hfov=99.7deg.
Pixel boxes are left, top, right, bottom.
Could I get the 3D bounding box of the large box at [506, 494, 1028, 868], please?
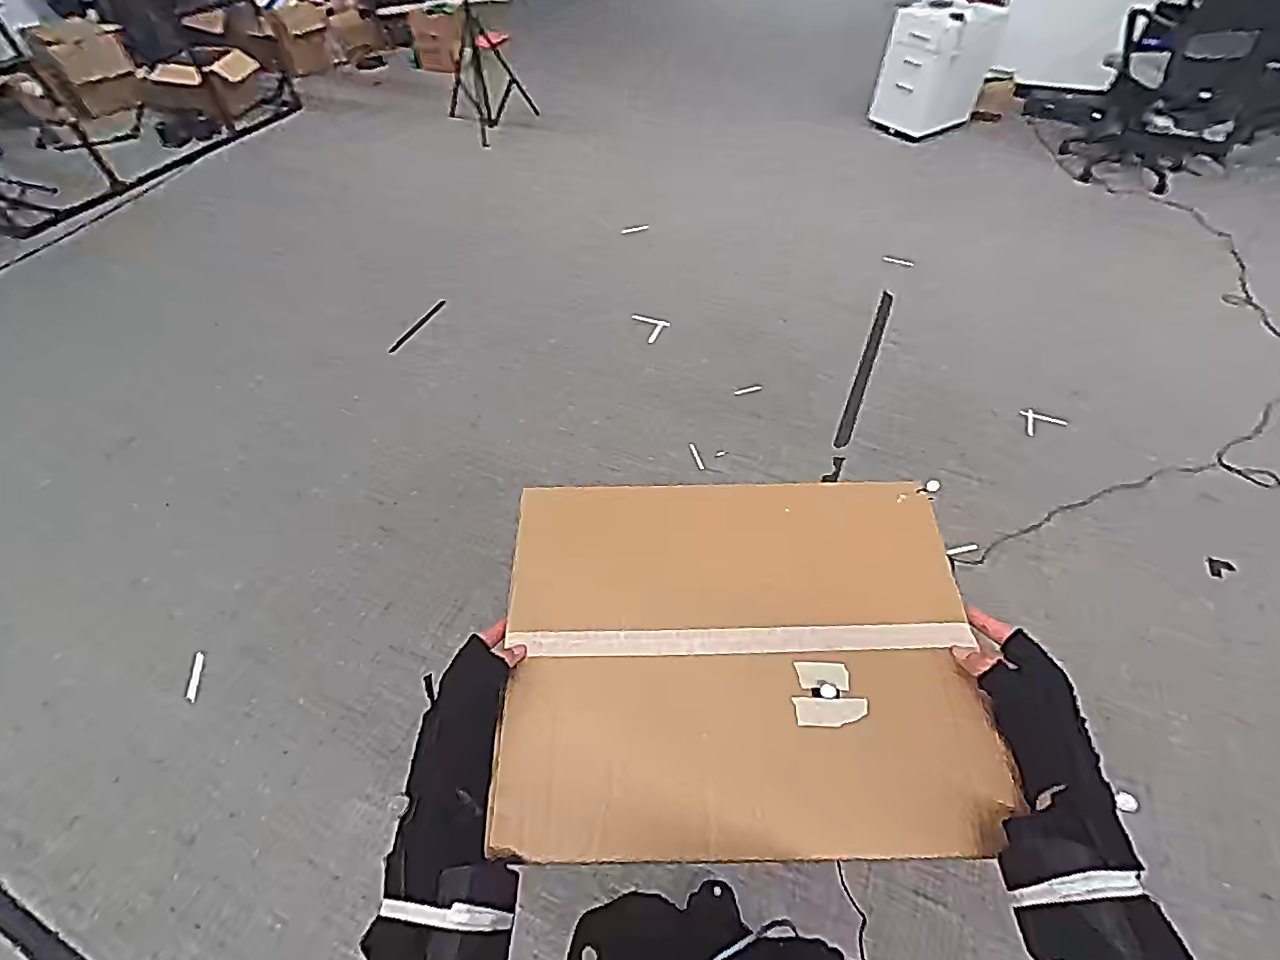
[{"bbox_3d":[0.093,0.226,0.607,0.408,0.320,0.320,-1,60,0],"label":"large box"}]
